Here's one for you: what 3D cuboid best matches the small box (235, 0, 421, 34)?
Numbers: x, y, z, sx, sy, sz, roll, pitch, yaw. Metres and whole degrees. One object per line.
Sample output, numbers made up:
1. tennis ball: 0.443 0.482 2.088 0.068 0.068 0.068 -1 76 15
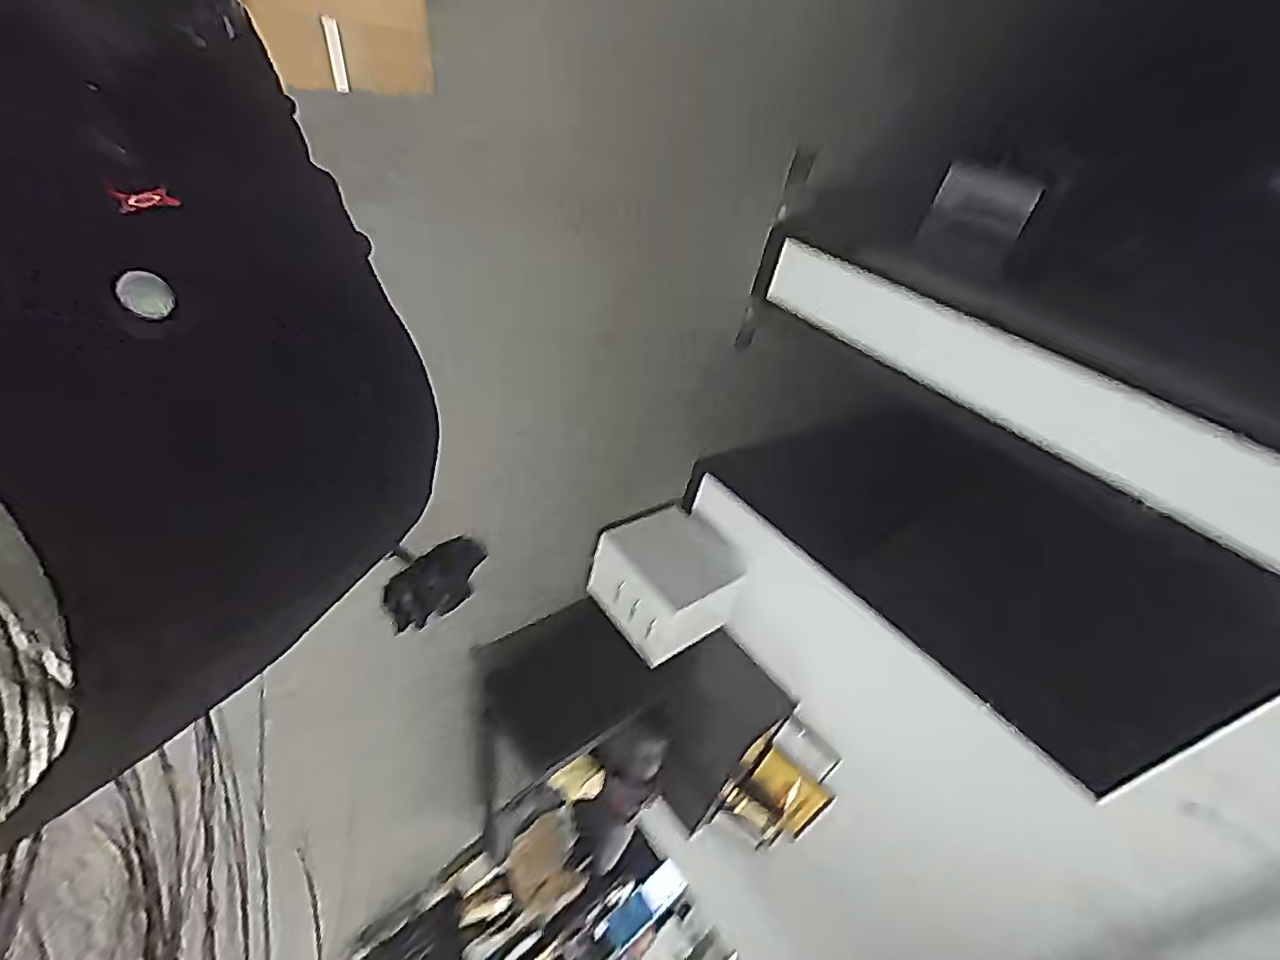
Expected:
1. small box: -0.357 -0.597 0.574 0.179 0.176 0.168 -21 139 -31
